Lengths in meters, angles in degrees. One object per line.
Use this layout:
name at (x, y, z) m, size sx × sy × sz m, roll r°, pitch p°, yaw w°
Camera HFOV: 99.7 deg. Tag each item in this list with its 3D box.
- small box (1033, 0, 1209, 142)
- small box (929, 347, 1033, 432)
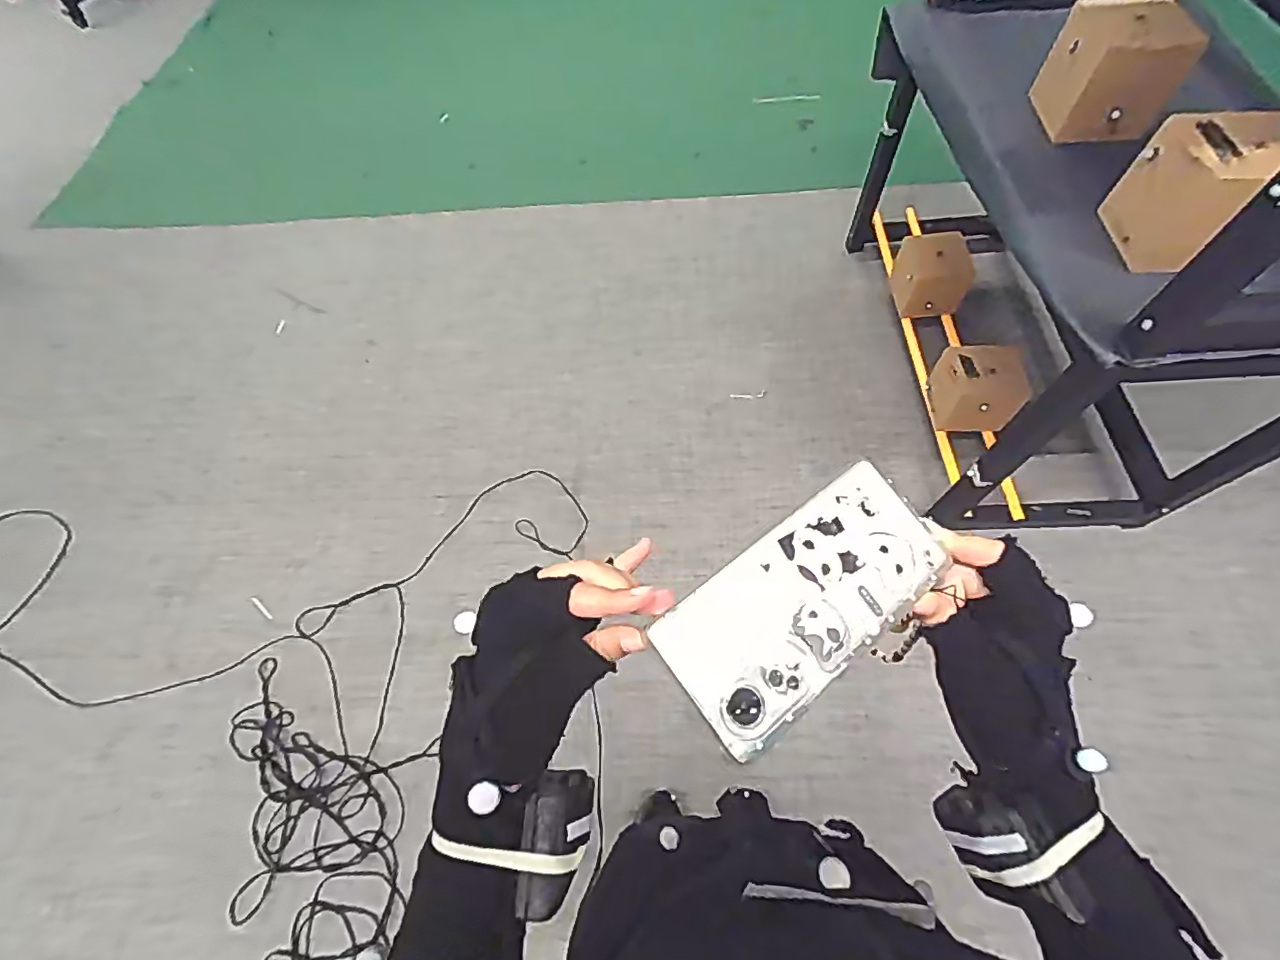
small box at (0.908, -0.788, 1.045) m, size 0.168 × 0.176 × 0.179 m, roll 0°, pitch 62°, yaw 5°
small box at (0.906, -0.242, 1.462) m, size 0.179 × 0.176 × 0.168 m, roll 1°, pitch 62°, yaw 5°
